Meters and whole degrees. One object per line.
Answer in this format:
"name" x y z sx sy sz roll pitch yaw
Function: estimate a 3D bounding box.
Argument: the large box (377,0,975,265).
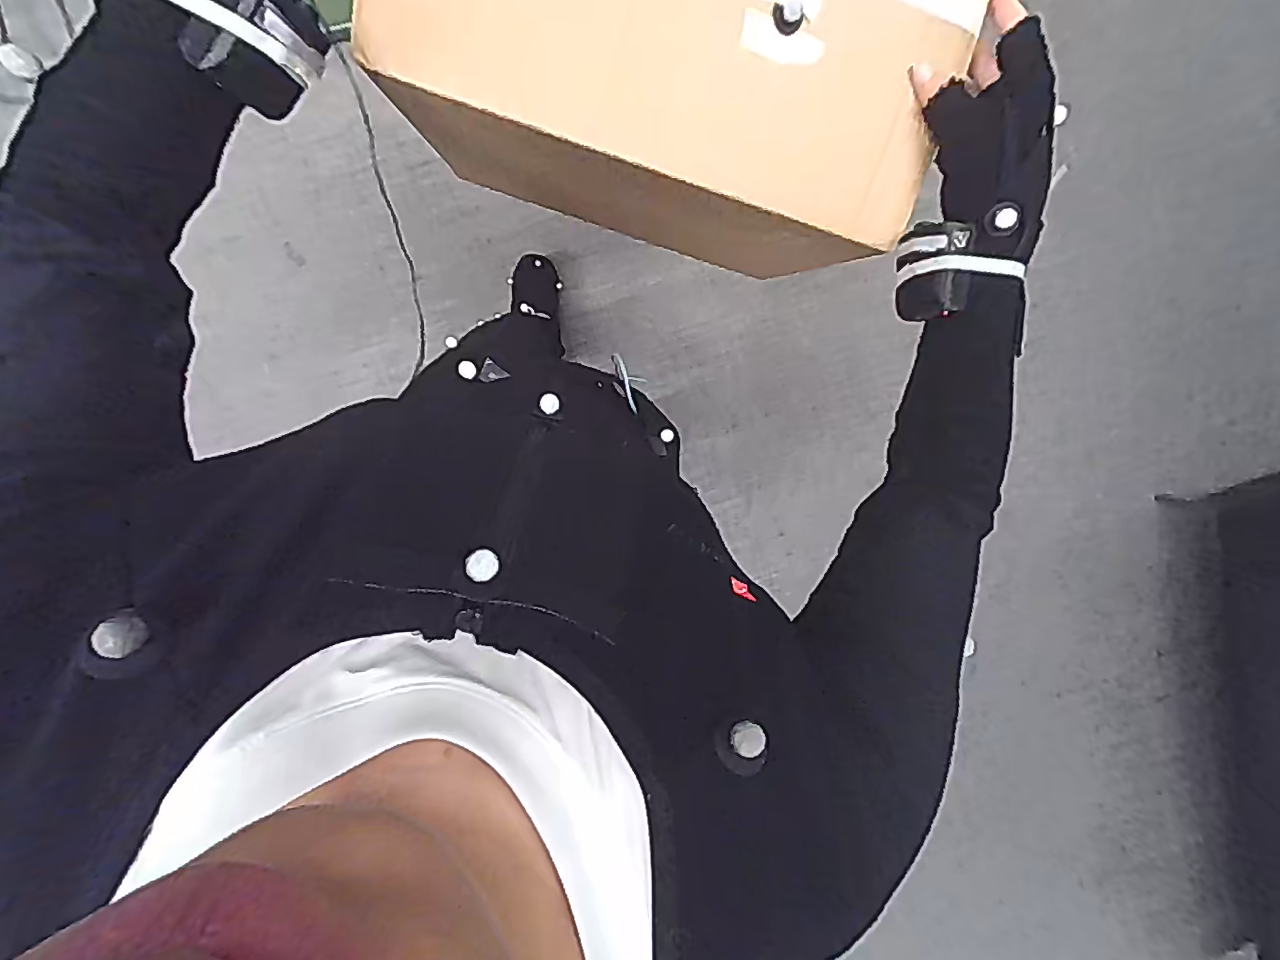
"large box" 0.030 -0.421 0.499 0.408 0.320 0.320 13 105 -11
